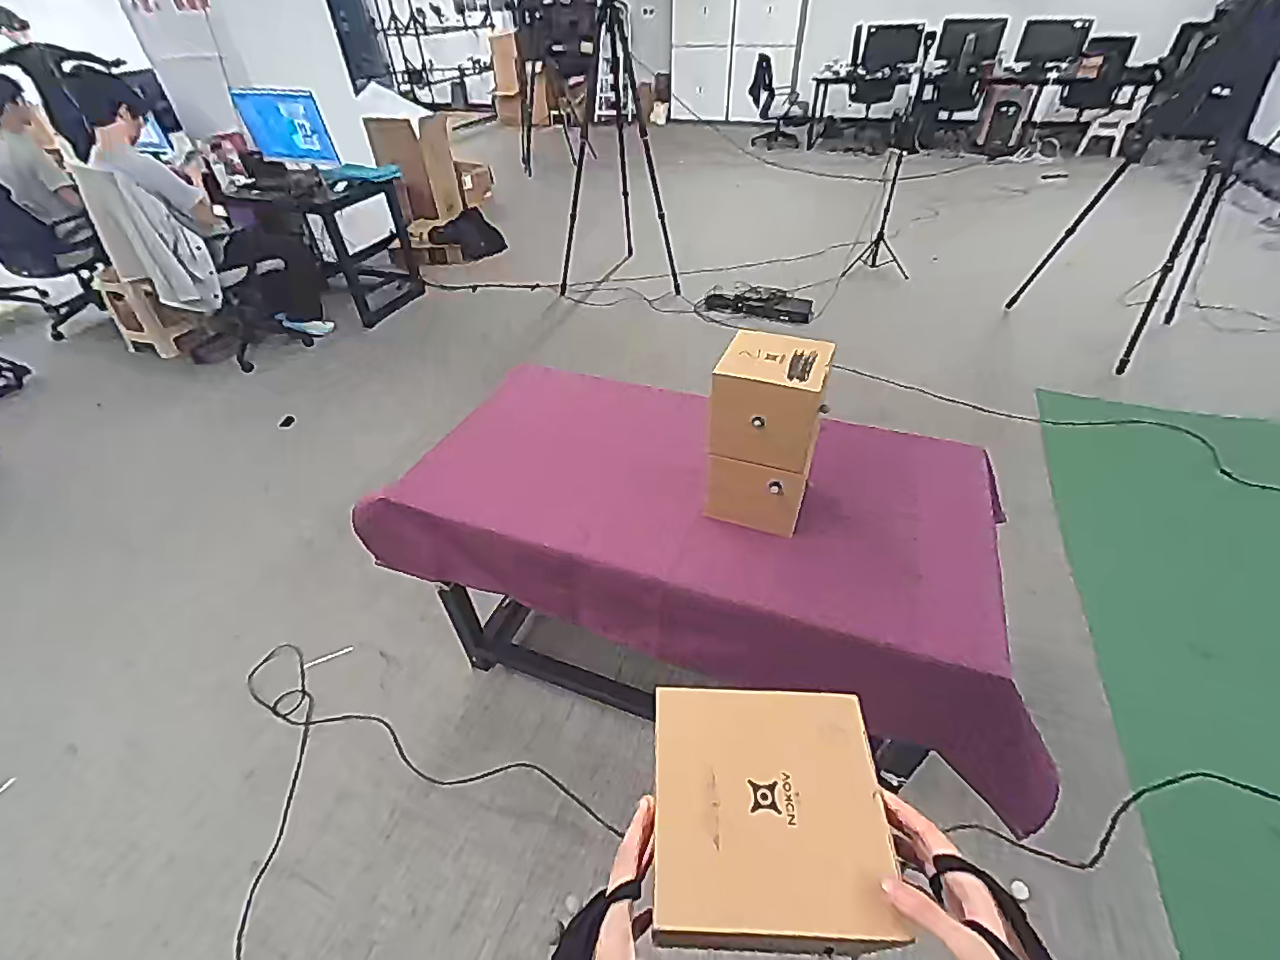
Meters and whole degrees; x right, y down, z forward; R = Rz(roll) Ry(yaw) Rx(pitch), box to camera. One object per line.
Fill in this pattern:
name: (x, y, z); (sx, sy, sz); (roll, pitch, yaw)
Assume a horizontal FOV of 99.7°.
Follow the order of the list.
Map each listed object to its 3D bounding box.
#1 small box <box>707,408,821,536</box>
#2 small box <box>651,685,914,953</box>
small box: (0.241, -0.014, 1.065); (0.179, 0.176, 0.168); (14, 44, 18)
small box: (0.101, 0.298, 0.473); (0.179, 0.176, 0.168); (1, 46, 2)
